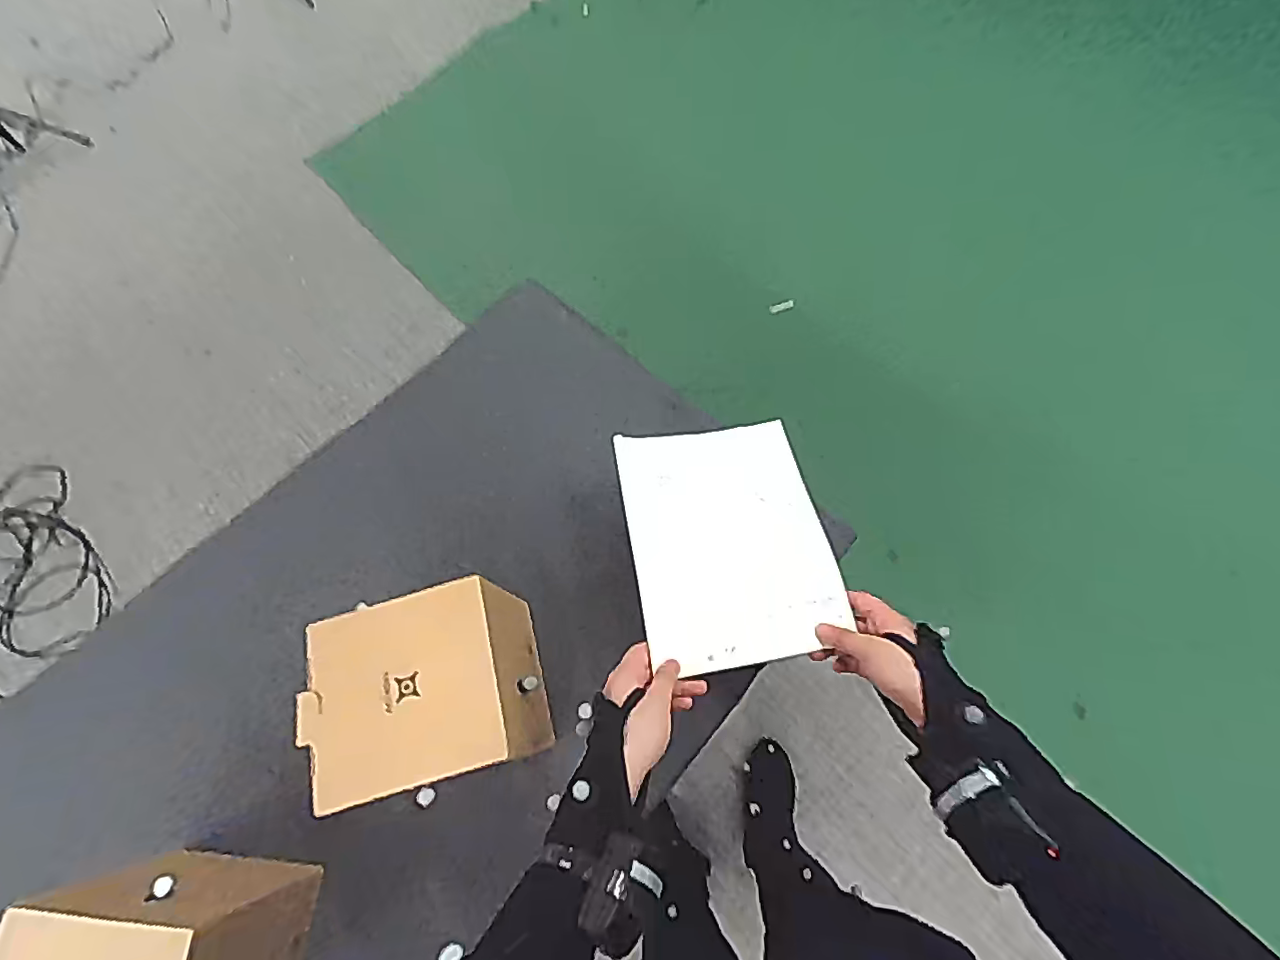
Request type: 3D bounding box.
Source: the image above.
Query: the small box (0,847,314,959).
[{"bbox_3d":[-0.440,0.455,0.489,0.179,0.176,0.168,2,69,6],"label":"small box"}]

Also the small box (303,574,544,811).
[{"bbox_3d":[-0.208,0.211,0.559,0.179,0.176,0.168,-17,69,0],"label":"small box"}]
